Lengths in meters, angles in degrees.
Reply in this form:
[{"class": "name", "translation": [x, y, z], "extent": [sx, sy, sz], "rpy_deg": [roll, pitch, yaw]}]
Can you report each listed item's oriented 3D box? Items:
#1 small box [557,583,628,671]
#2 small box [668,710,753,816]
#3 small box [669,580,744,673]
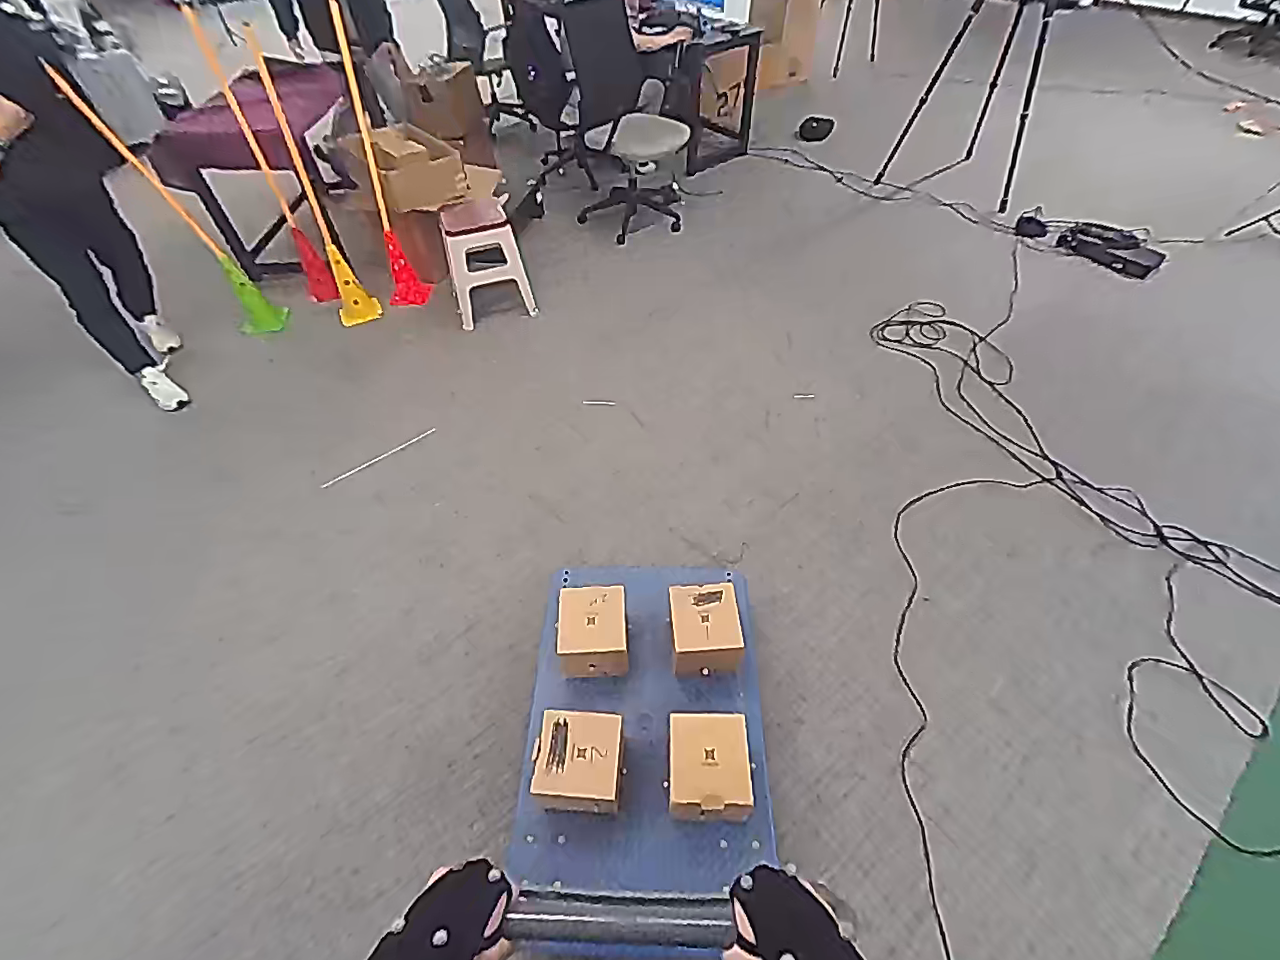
[{"class": "small box", "translation": [-0.117, 0.383, 1.390], "extent": [0.168, 0.176, 0.179], "rpy_deg": [-2, 51, -1]}, {"class": "small box", "translation": [0.147, 0.622, 1.189], "extent": [0.168, 0.176, 0.179], "rpy_deg": [0, 51, 2]}, {"class": "small box", "translation": [0.163, 0.378, 1.388], "extent": [0.168, 0.176, 0.179], "rpy_deg": [-3, 52, -1]}]
